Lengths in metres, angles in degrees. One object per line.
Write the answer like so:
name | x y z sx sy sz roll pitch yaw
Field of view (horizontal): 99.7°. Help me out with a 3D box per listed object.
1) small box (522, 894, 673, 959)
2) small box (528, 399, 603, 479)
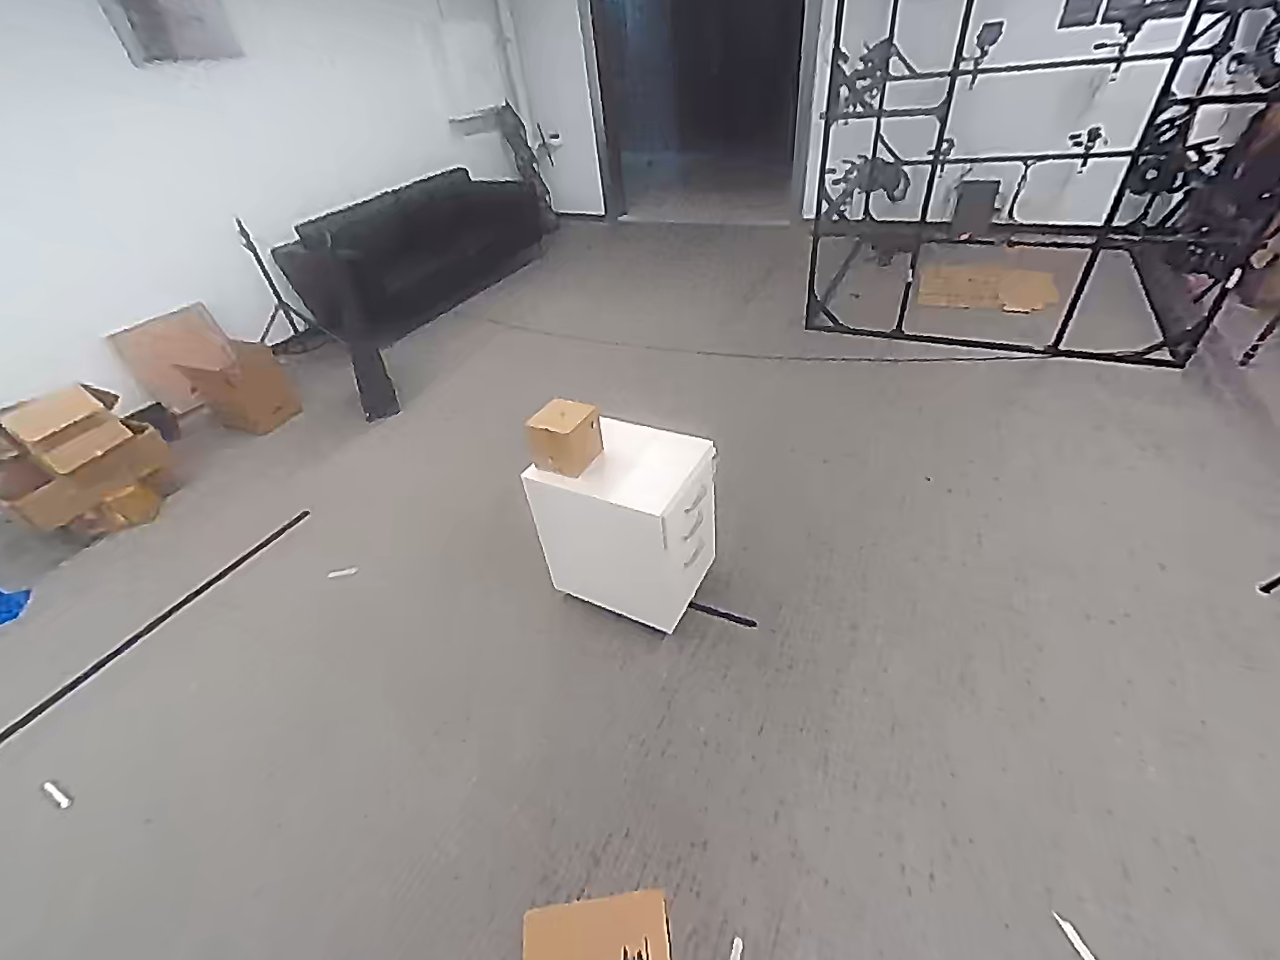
small box | -0.042 0.630 0.657 0.179 0.176 0.168 -8 43 -3
small box | -0.230 -0.132 1.727 0.168 0.176 0.179 14 43 25
